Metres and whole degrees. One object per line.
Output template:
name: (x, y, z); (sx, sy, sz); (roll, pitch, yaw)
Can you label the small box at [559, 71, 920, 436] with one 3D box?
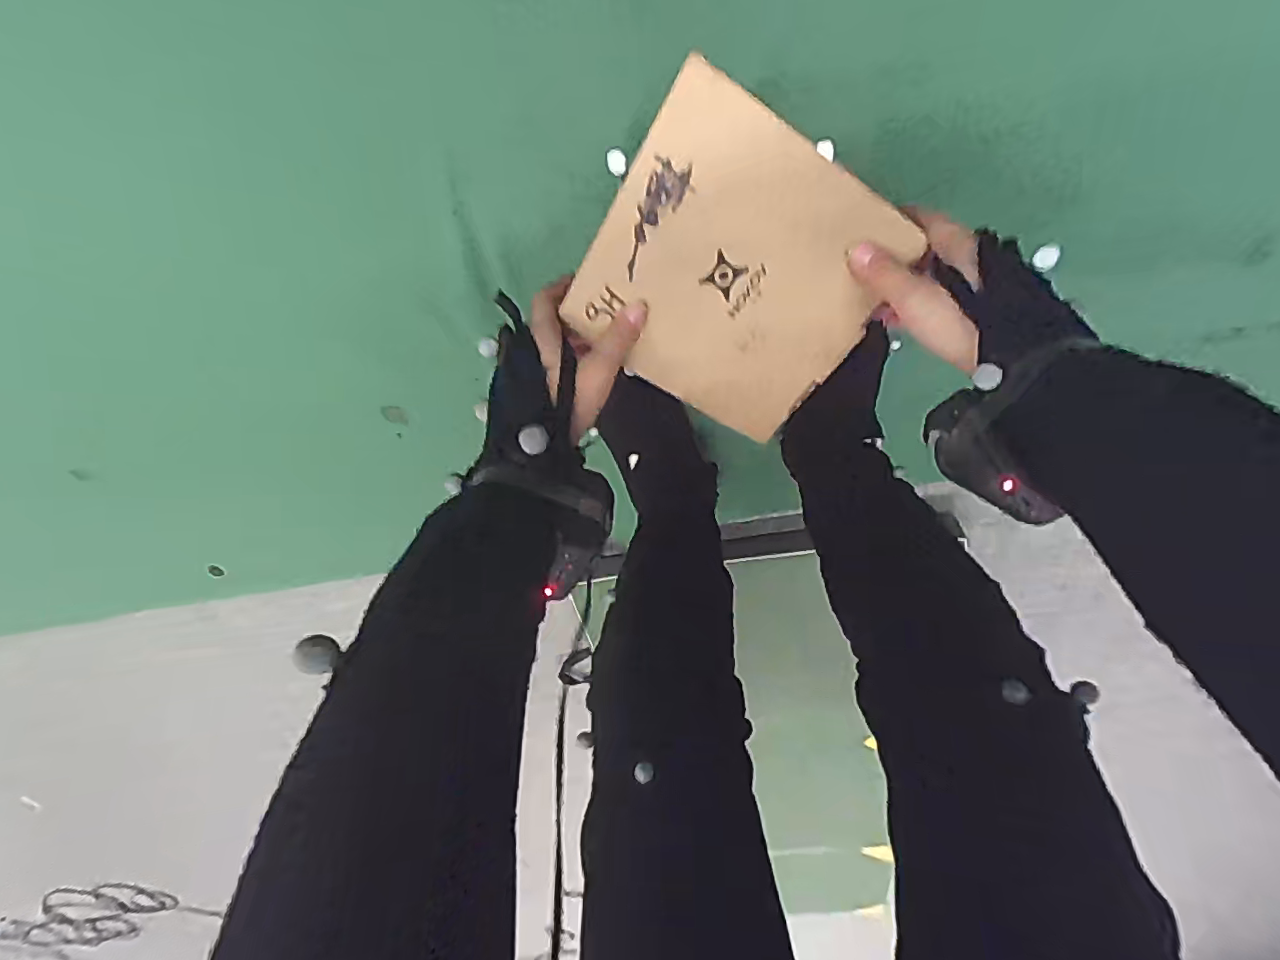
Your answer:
small box: (0.061, -0.170, 0.413); (0.179, 0.176, 0.168); (27, 120, -16)
